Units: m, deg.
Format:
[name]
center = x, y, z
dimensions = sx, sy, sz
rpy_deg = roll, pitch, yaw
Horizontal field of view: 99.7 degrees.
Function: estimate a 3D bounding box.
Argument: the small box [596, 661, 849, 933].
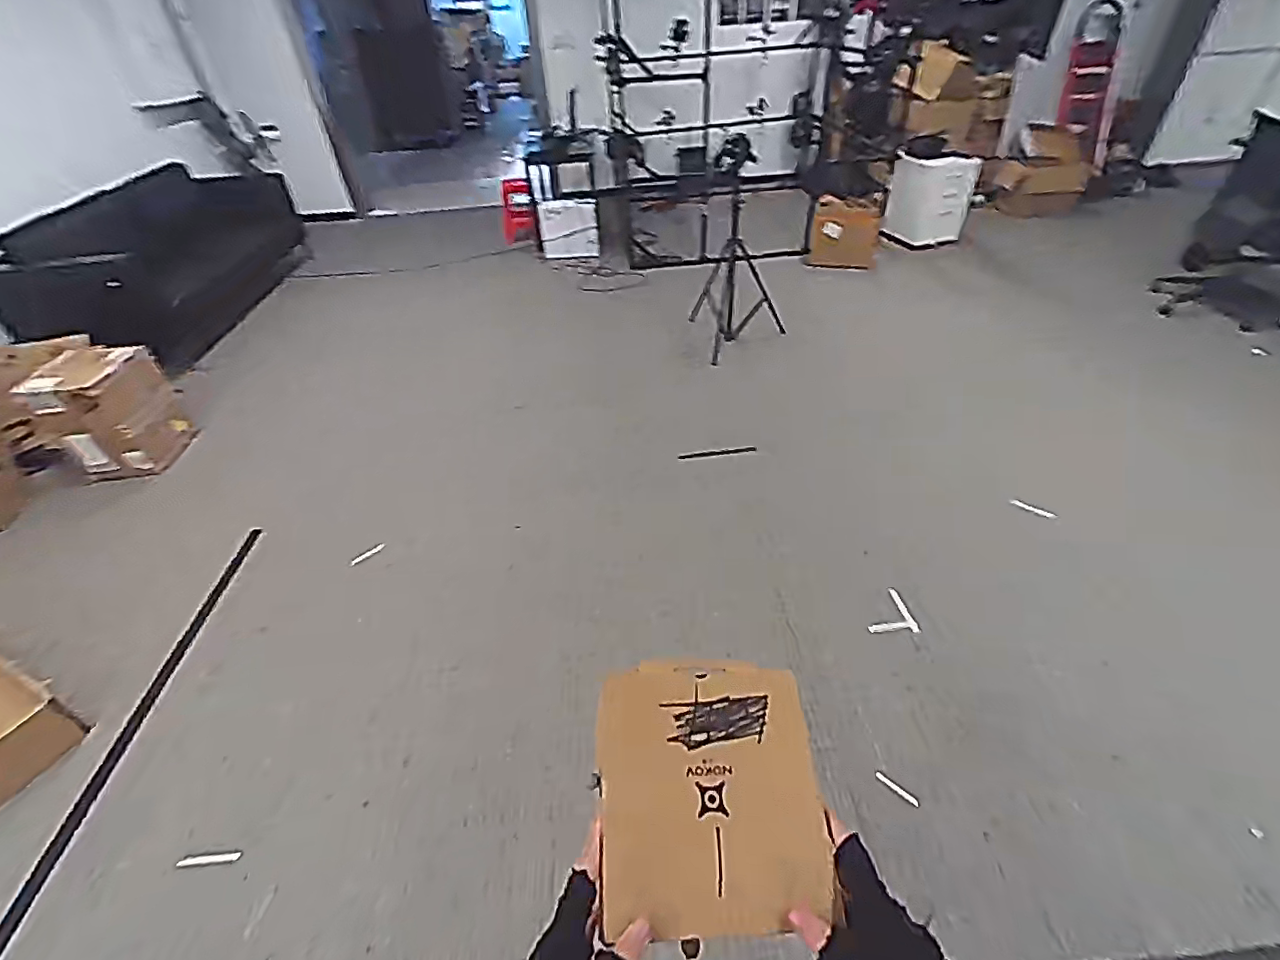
[small box]
center = 0.048, 0.271, 0.464
dimensions = 0.168, 0.176, 0.179
rpy_deg = 2, 53, -5
